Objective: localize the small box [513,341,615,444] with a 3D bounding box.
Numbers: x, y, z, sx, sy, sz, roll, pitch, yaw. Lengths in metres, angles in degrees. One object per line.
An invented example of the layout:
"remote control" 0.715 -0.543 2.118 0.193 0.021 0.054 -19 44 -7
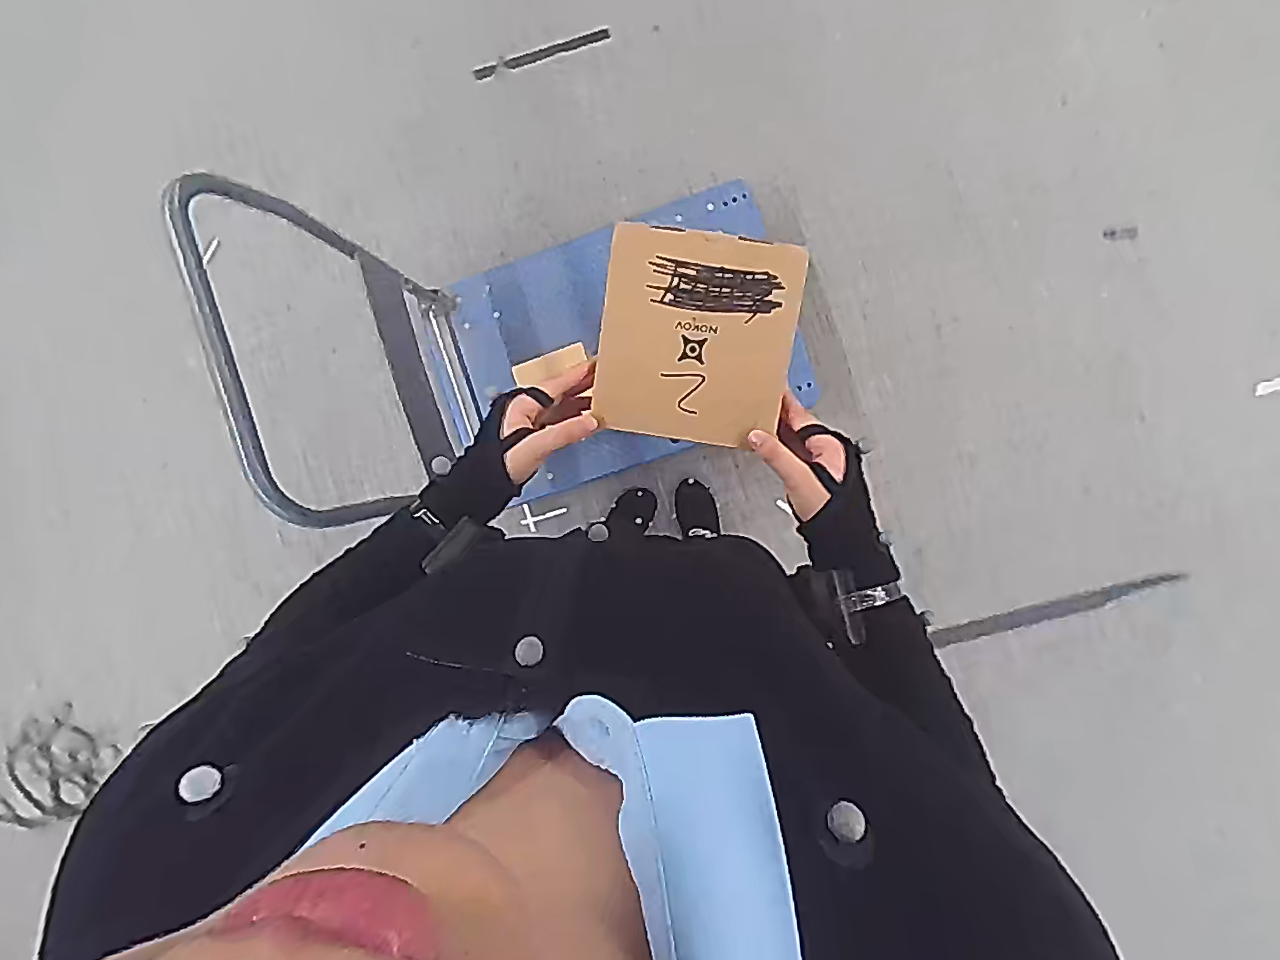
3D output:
"small box" -0.167 -0.192 1.239 0.168 0.176 0.179 -20 89 5
